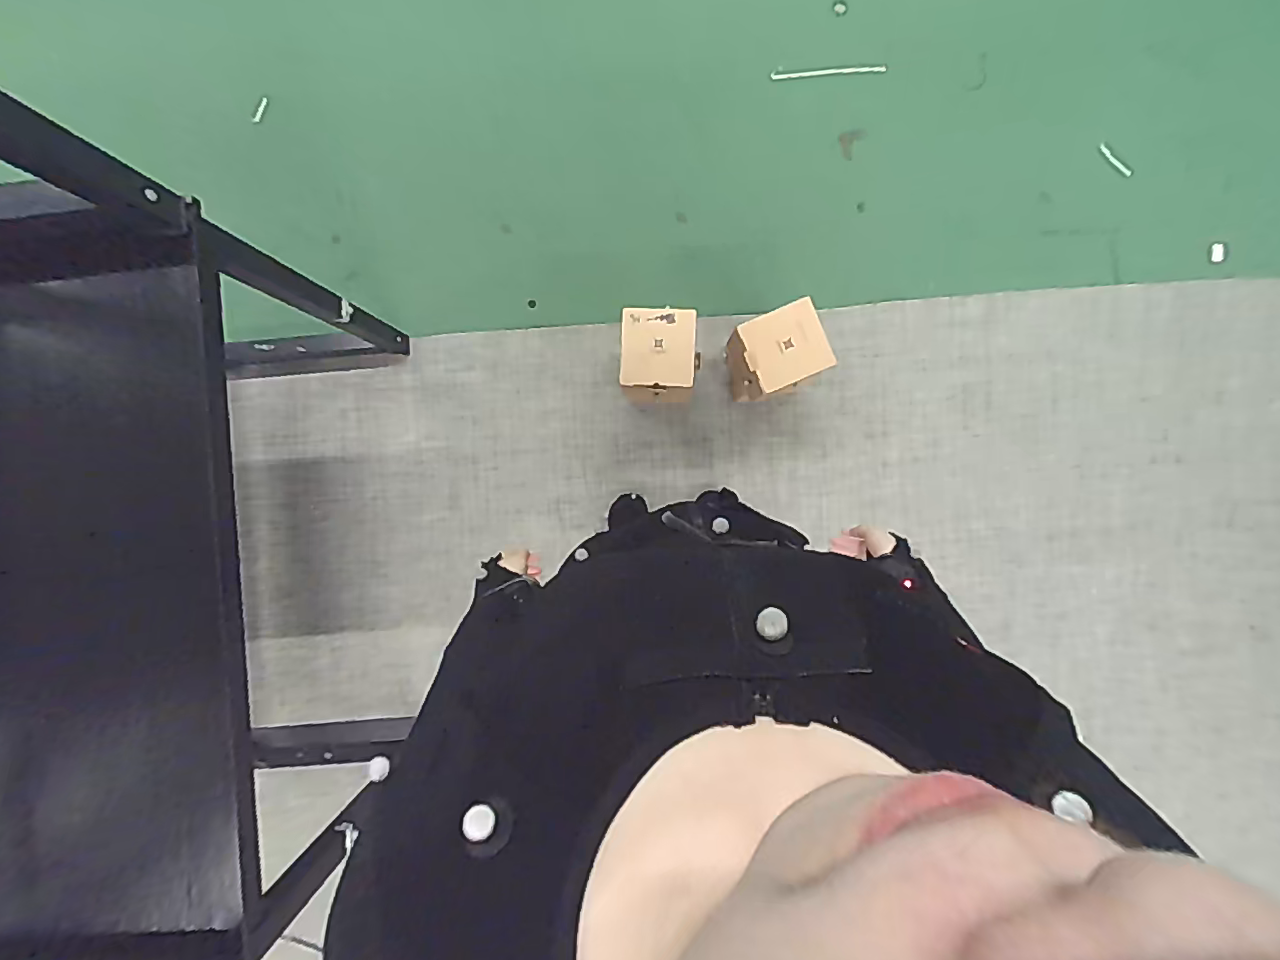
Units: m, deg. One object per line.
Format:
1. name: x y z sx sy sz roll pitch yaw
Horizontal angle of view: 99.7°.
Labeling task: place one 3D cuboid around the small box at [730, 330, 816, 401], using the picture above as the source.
1. small box: 0.337 -0.308 1.410 0.179 0.176 0.168 -11 91 1

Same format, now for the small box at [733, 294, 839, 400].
1. small box: 0.325 -0.296 1.249 0.179 0.176 0.168 -24 92 1

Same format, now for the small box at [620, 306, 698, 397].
1. small box: 0.046 -0.290 1.257 0.168 0.176 0.179 3 91 3
